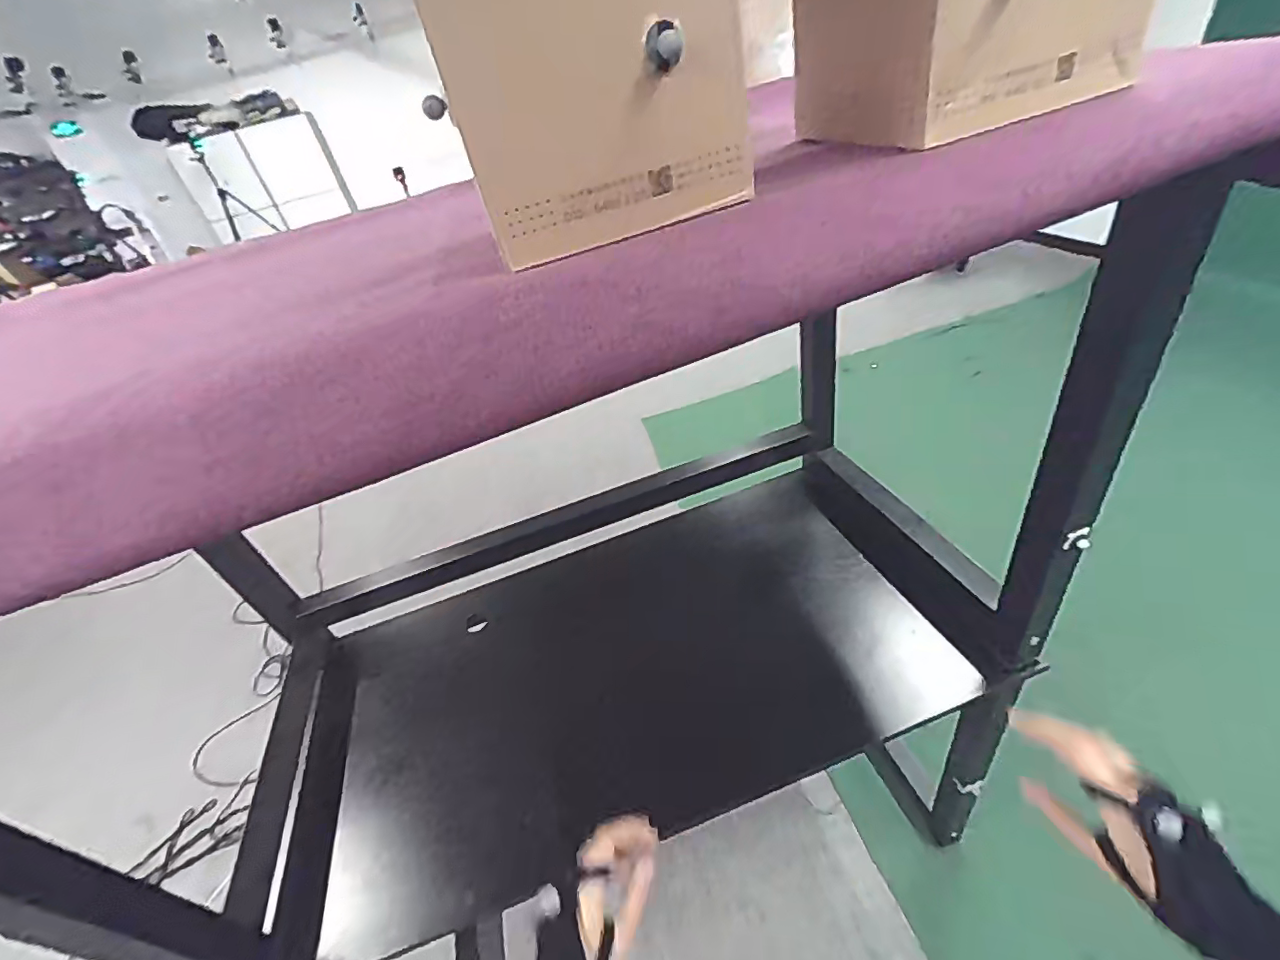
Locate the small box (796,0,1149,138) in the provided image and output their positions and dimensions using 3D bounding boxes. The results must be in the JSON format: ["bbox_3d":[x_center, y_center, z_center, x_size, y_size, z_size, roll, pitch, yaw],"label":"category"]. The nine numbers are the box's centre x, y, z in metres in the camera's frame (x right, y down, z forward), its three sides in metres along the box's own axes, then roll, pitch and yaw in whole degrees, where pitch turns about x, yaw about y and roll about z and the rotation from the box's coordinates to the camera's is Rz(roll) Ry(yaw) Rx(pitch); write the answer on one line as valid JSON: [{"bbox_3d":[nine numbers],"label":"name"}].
[{"bbox_3d":[0.224,-0.357,0.380,0.168,0.176,0.179,-19,37,-5],"label":"small box"}]

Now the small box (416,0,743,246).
[{"bbox_3d":[-0.043,-0.269,0.357,0.168,0.176,0.179,-18,36,-6],"label":"small box"}]
